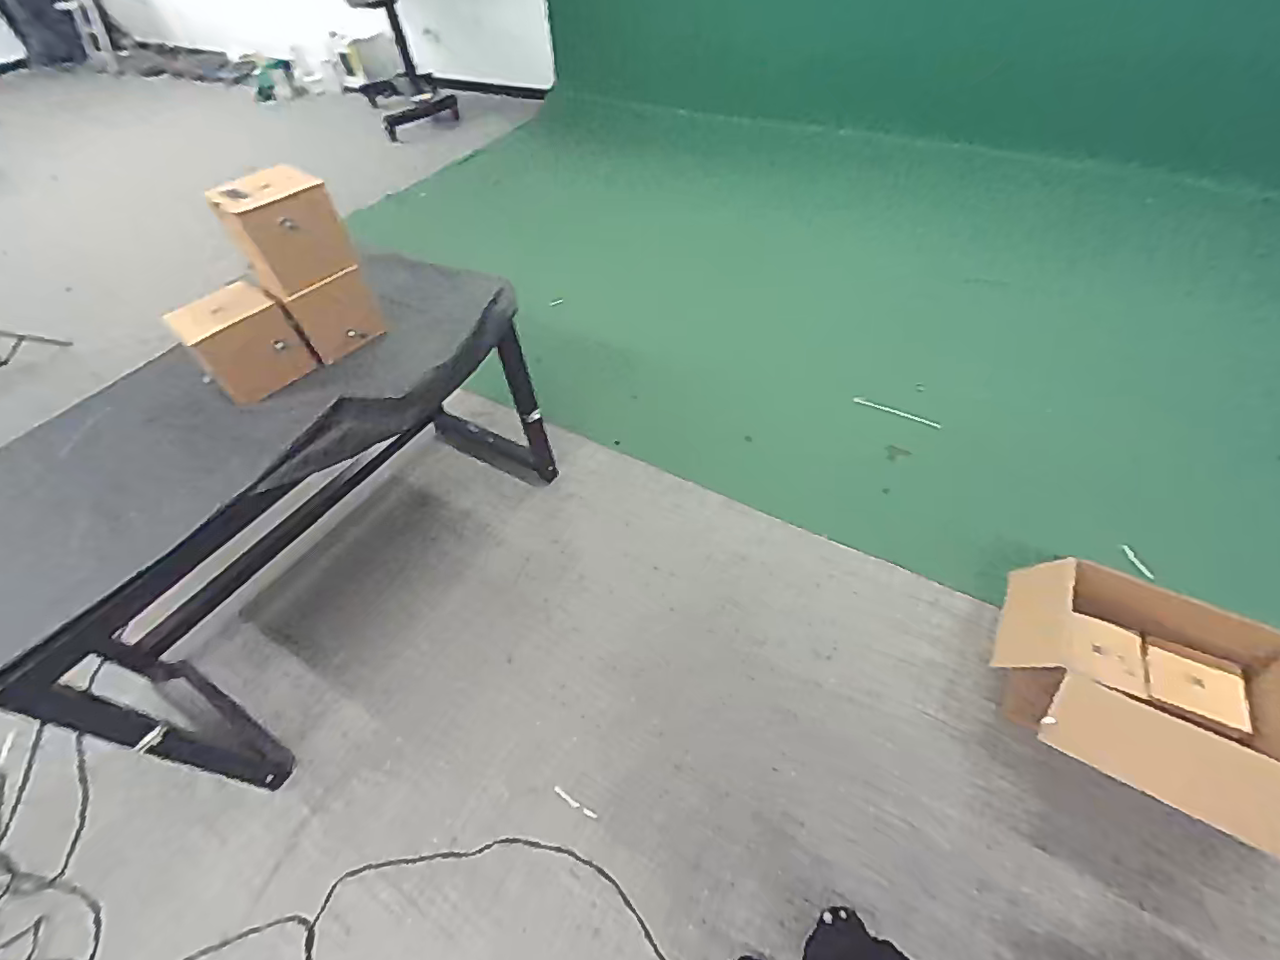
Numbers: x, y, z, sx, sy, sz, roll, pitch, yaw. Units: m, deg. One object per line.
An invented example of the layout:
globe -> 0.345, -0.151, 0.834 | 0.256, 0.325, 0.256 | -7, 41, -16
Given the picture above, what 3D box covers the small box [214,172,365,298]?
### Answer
small box -> -0.721, -0.509, 1.129 | 0.168, 0.176, 0.179 | 33, 60, 27
